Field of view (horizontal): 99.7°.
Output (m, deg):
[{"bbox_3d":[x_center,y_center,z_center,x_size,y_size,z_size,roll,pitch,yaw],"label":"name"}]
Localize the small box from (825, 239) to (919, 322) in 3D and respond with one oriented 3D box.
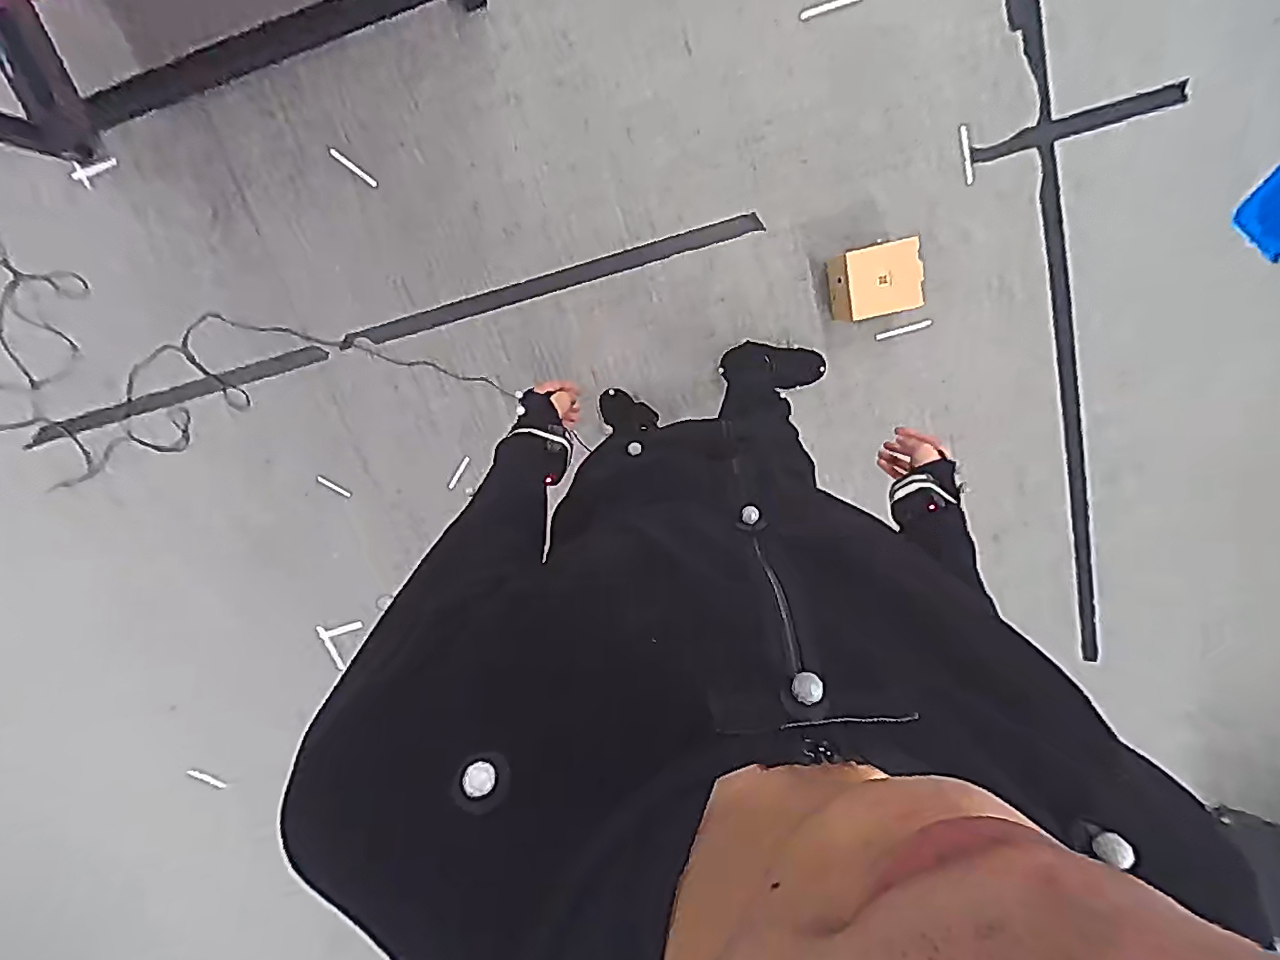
[{"bbox_3d":[0.593,-0.509,1.403,0.179,0.176,0.168,-12,105,4],"label":"small box"}]
